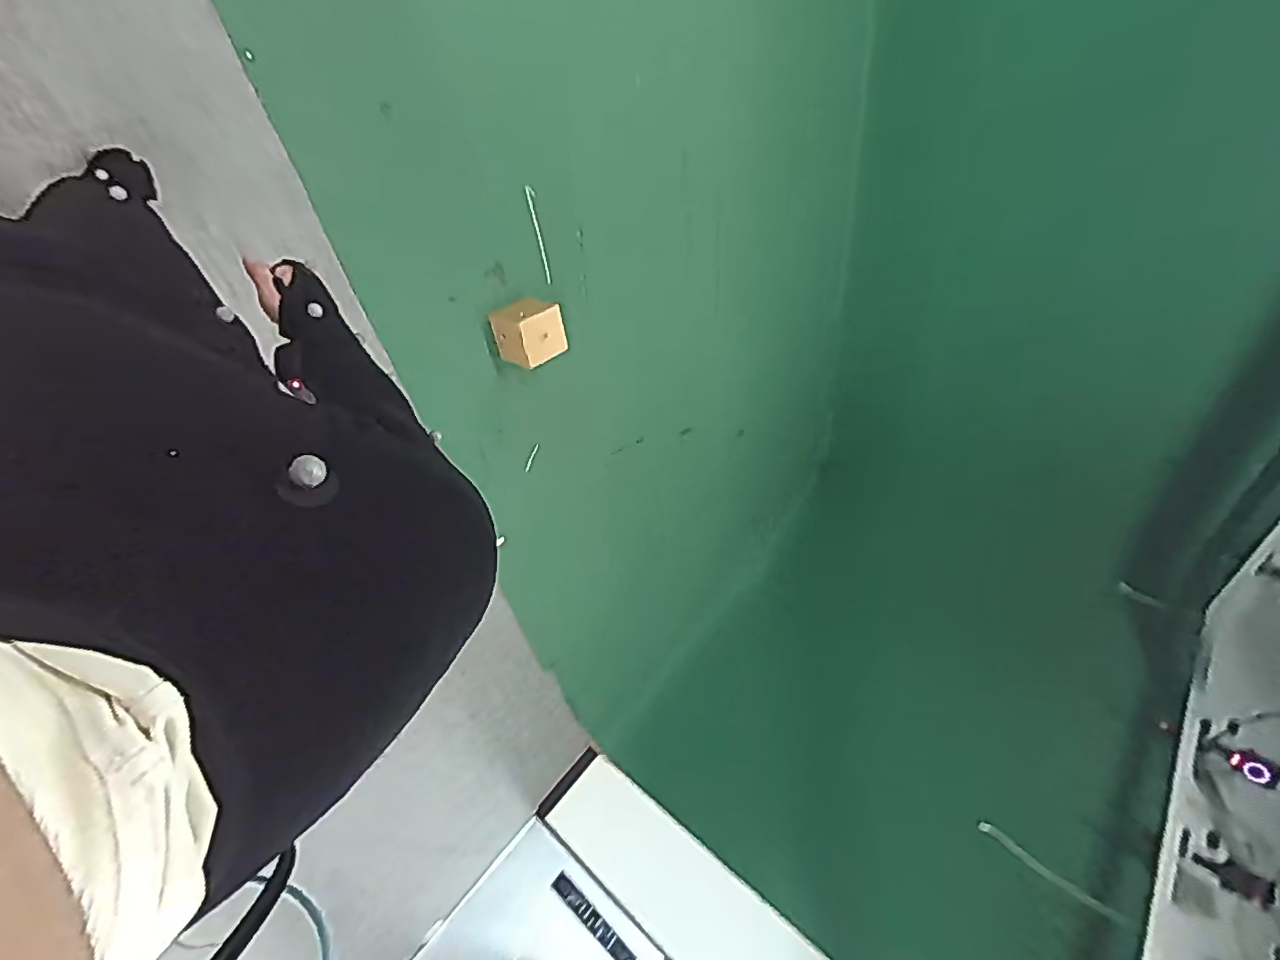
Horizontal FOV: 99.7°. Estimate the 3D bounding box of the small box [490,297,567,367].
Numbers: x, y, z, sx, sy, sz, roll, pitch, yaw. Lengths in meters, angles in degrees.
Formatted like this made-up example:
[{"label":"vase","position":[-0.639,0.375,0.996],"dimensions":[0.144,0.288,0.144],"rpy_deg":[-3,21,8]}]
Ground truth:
[{"label":"small box","position":[-0.384,-0.519,1.871],"dimensions":[0.179,0.176,0.168],"rpy_deg":[-39,137,-31]}]
